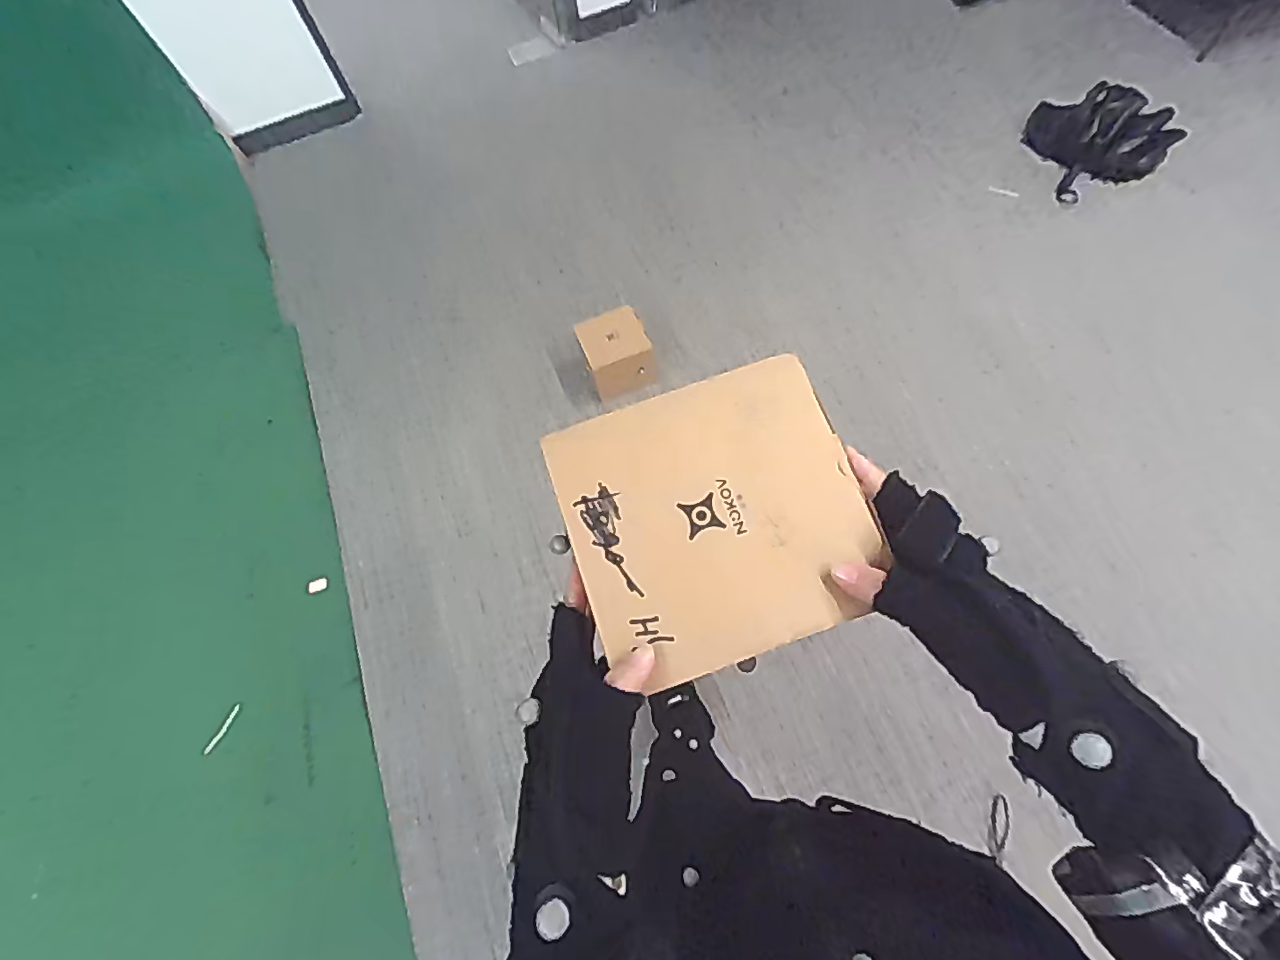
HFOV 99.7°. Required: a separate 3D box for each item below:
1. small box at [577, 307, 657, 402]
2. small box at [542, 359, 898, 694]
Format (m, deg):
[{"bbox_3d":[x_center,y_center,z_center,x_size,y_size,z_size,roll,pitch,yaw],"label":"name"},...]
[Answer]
[{"bbox_3d":[-0.059,-0.352,1.537,0.179,0.176,0.168,-24,66,-4],"label":"small box"},{"bbox_3d":[0.045,0.043,0.402,0.179,0.176,0.168,-19,72,-3],"label":"small box"}]
